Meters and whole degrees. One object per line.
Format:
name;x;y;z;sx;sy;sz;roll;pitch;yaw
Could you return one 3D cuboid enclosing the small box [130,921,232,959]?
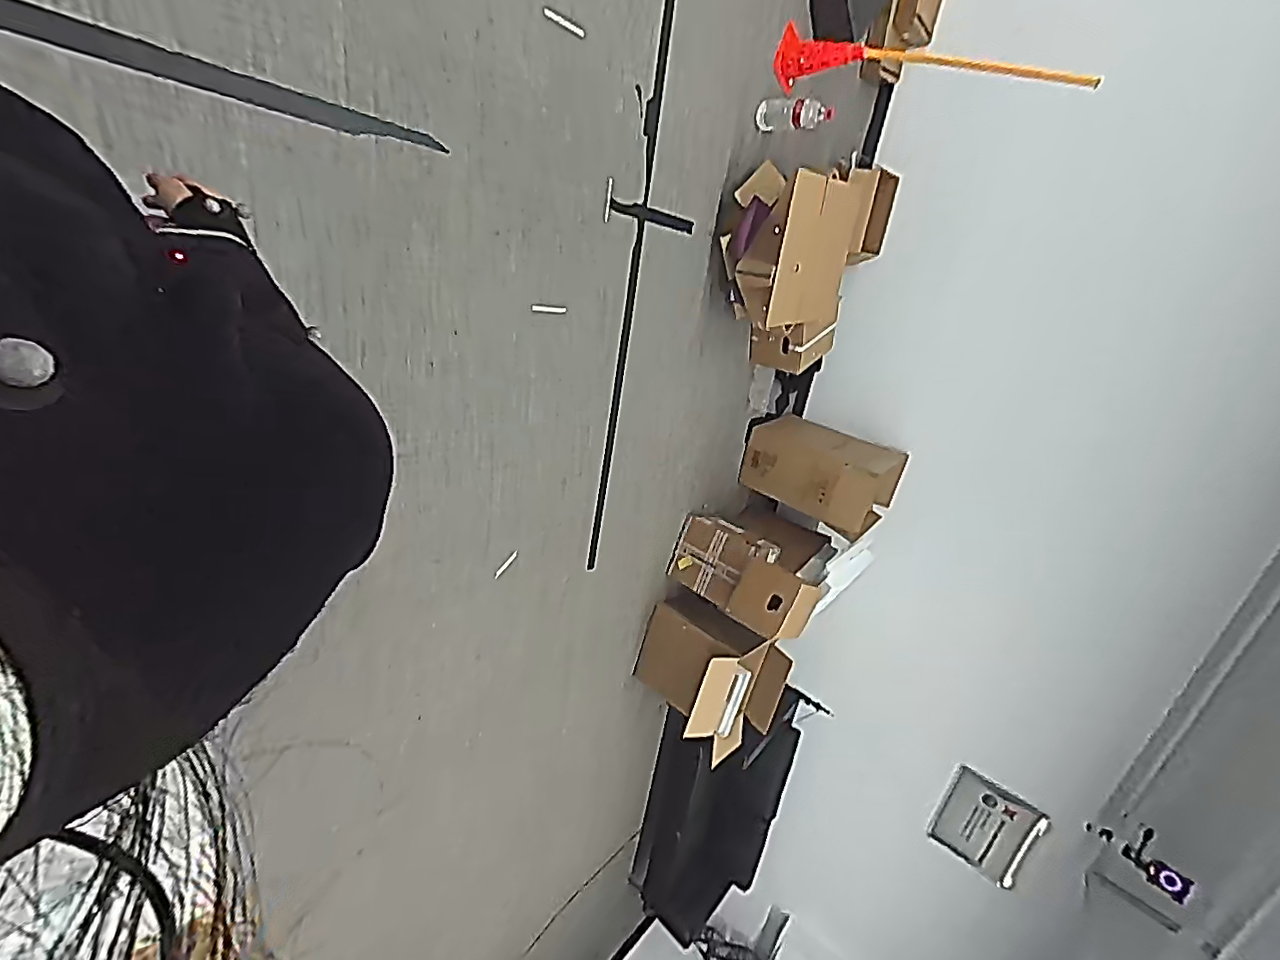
small box;-0.838;0.948;0.965;0.168;0.176;0.179;-9;118;-50
